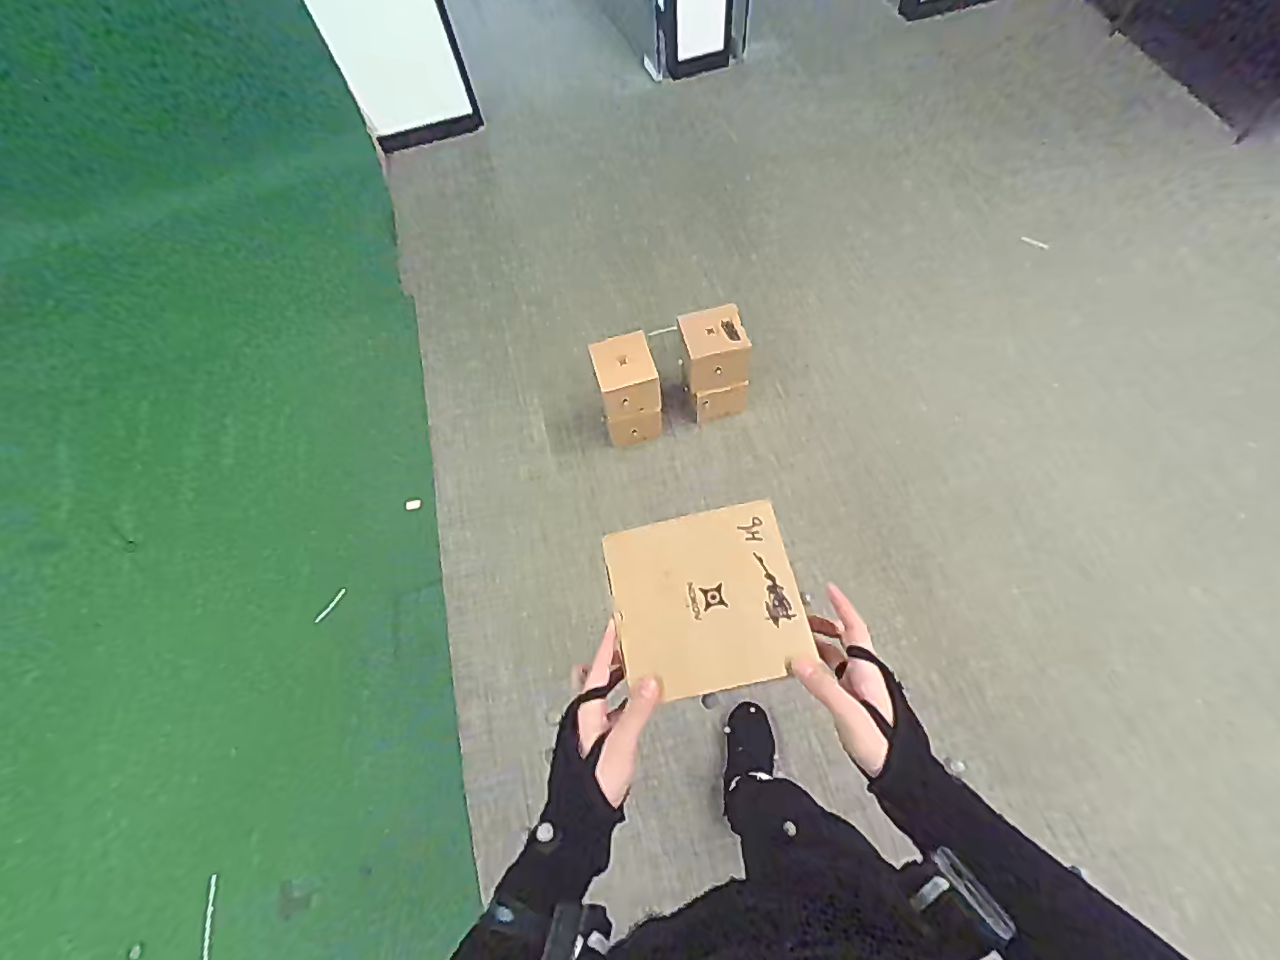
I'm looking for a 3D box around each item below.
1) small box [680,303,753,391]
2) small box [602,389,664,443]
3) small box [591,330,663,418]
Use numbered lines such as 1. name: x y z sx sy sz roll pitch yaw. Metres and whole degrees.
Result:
1. small box: 0.222 -0.389 1.601 0.179 0.176 0.168 -14 64 0
2. small box: -0.022 -0.234 1.734 0.168 0.176 0.179 -14 65 -1
3. small box: -0.034 -0.301 1.588 0.168 0.176 0.179 -17 64 -2
